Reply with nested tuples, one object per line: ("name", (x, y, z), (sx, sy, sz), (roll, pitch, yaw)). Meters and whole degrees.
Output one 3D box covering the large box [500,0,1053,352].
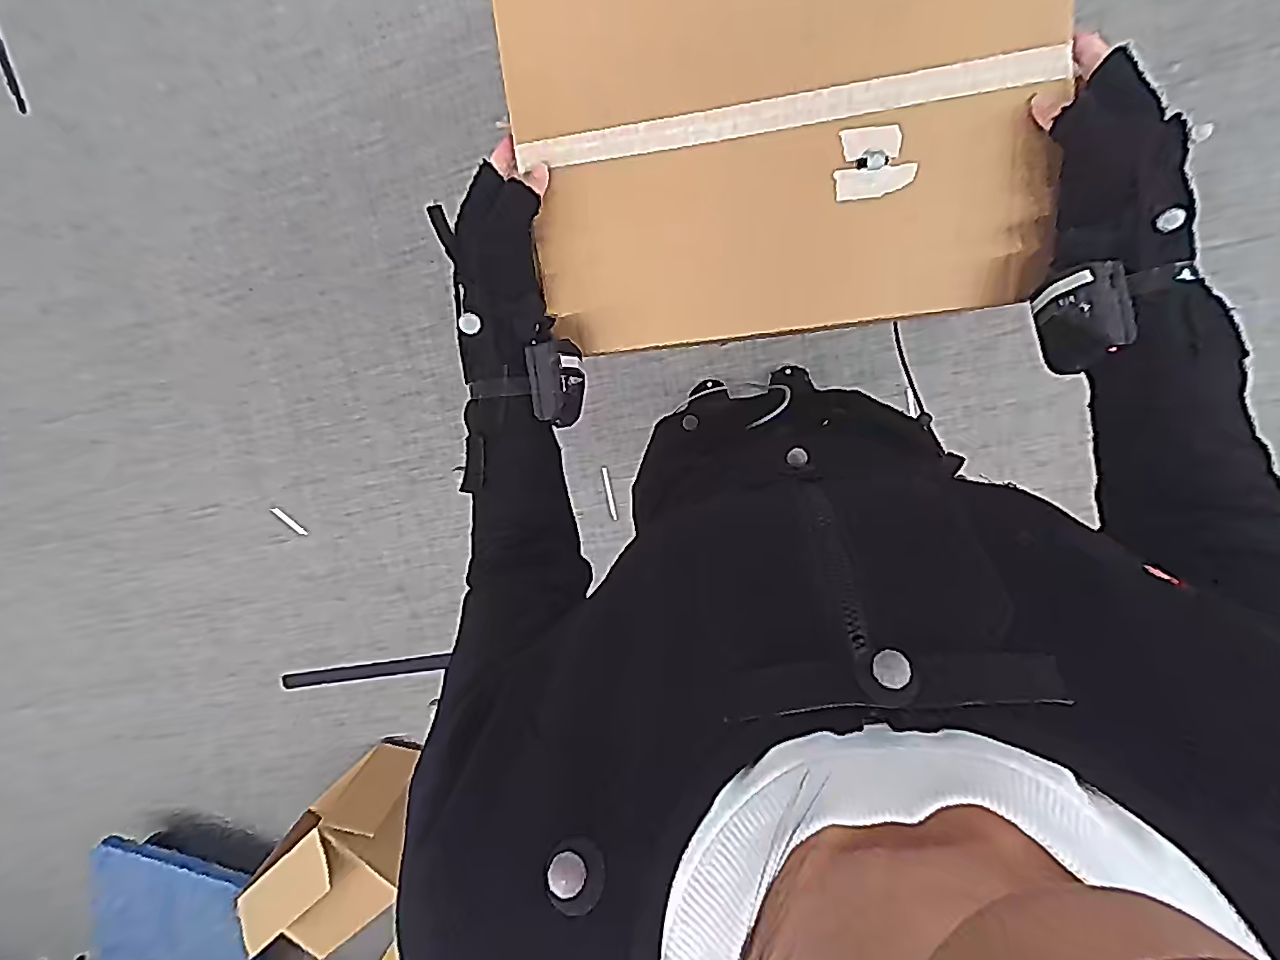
("large box", (0.114, -0.316, 0.561), (0.408, 0.320, 0.320), (-6, 103, 6))
